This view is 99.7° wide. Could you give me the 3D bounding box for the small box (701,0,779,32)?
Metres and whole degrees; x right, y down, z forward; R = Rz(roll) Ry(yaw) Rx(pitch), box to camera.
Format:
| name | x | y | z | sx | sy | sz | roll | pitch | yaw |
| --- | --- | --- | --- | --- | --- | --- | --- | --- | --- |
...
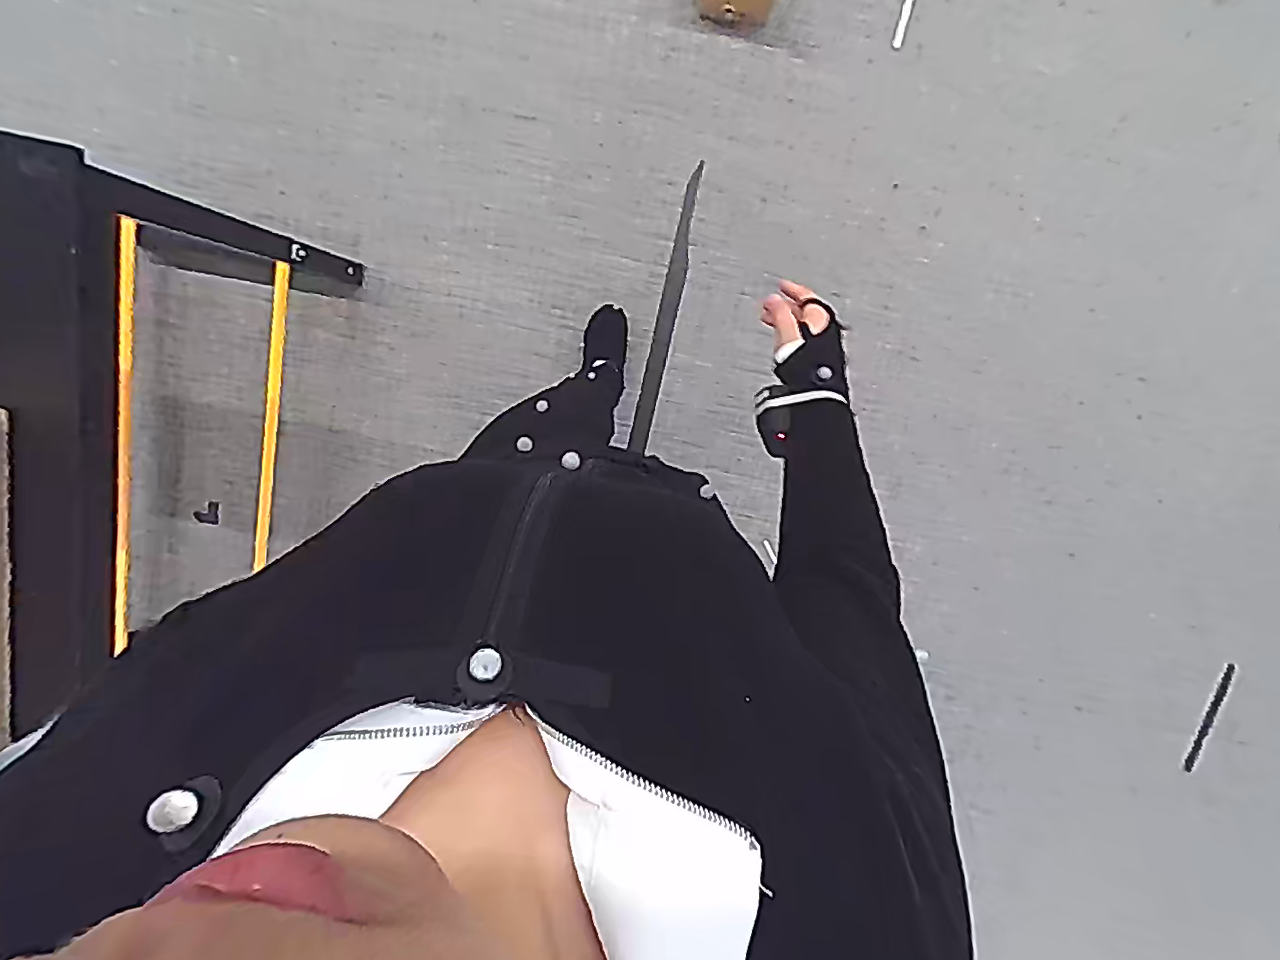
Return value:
| name | x | y | z | sx | sy | sz | roll | pitch | yaw |
| --- | --- | --- | --- | --- | --- | --- | --- | --- | --- |
| small box | 0.229 | -1.126 | 1.166 | 0.168 | 0.176 | 0.179 | 7 | 102 | 0 |
